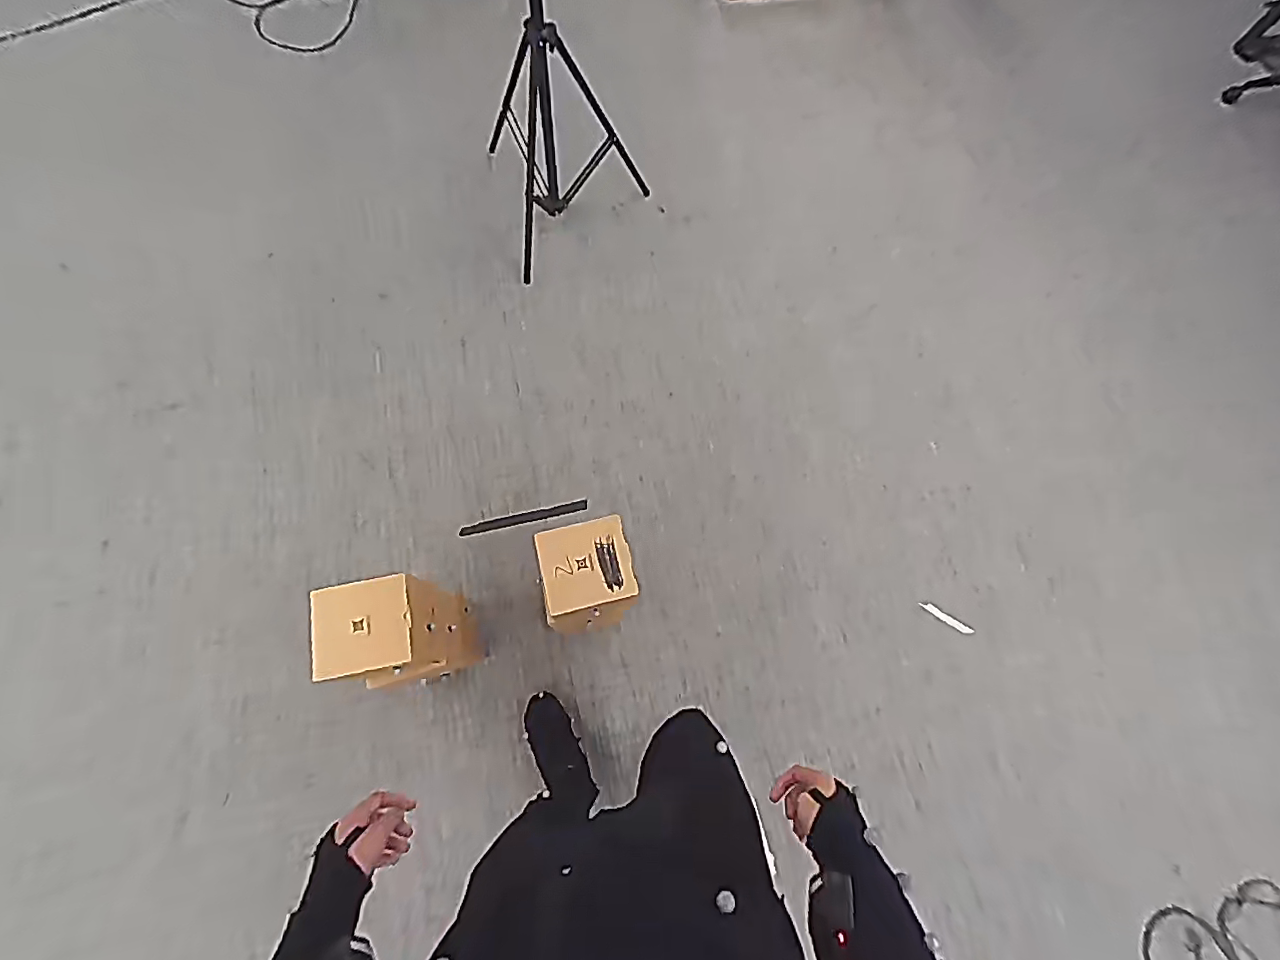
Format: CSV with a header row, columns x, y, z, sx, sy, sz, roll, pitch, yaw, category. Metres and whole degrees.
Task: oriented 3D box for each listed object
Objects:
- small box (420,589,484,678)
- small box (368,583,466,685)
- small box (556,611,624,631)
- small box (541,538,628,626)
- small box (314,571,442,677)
x,y,z,sx,sy,sz,roll,pitch,yaw,category
-0.509,0.394,1.373,0.168,0.176,0.179,-17,73,-9,small box
-0.504,0.348,1.215,0.168,0.176,0.179,-15,74,-8,small box
-0.144,0.298,1.431,0.179,0.176,0.168,-10,73,-8,small box
-0.133,0.245,1.276,0.179,0.176,0.168,-9,72,-8,small box
-0.509,0.287,1.064,0.179,0.176,0.168,-10,72,-7,small box
